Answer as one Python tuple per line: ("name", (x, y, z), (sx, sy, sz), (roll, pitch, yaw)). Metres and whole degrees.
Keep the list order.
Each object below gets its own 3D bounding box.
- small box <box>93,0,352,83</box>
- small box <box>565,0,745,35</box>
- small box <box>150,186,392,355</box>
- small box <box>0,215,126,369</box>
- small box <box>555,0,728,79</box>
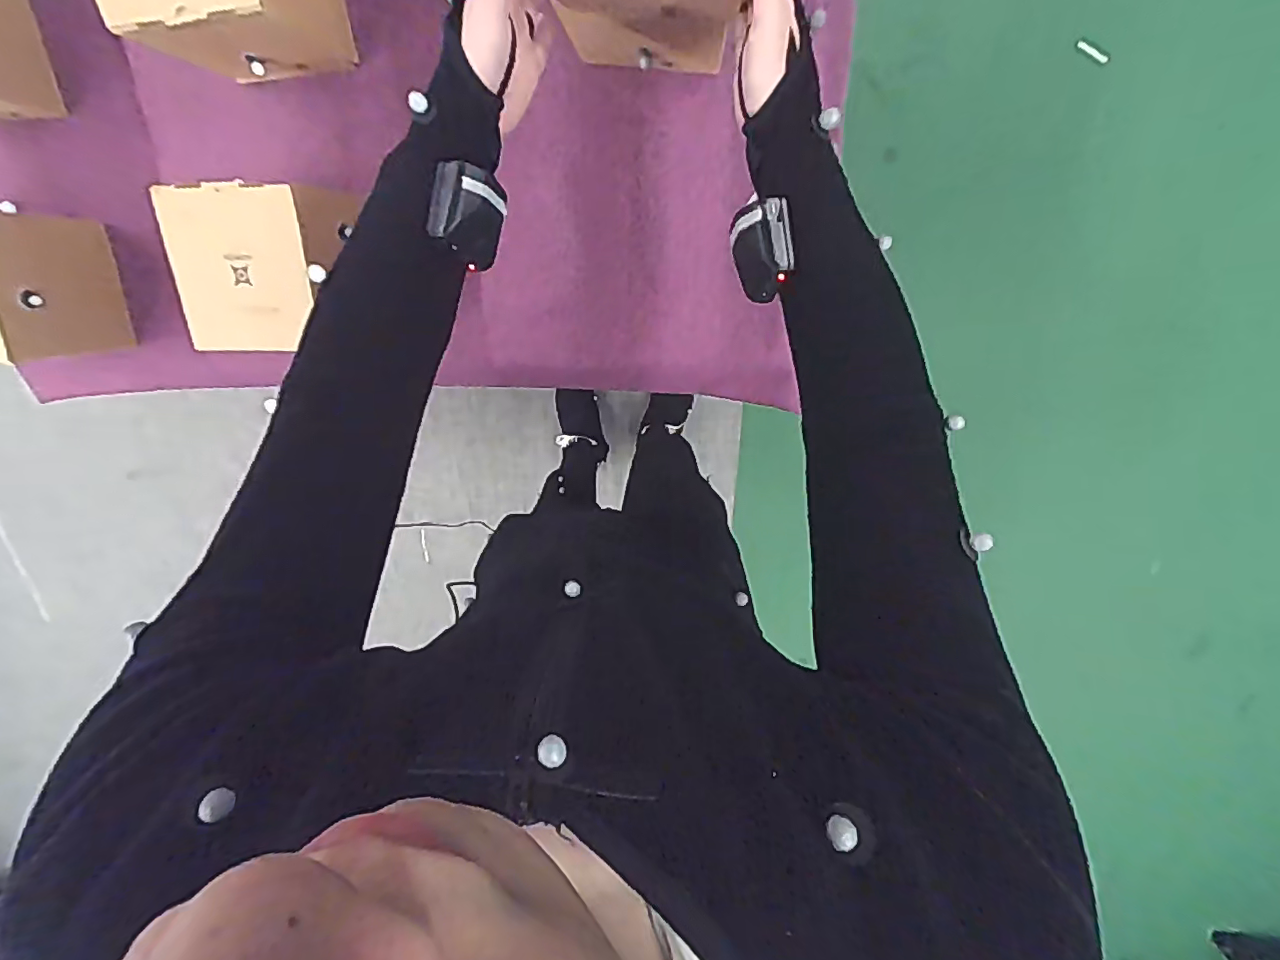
("small box", (-0.437, -0.546, 0.559), (0.168, 0.176, 0.179), (-3, 113, 5))
("small box", (0.011, -0.461, 0.381), (0.168, 0.176, 0.179), (7, 112, 2))
("small box", (-0.438, -0.257, 0.676), (0.168, 0.176, 0.179), (2, 111, 4))
("small box", (-0.837, -0.250, 0.704), (0.168, 0.176, 0.179), (4, 111, 2))
("small box", (0.015, -0.530, 0.530), (0.168, 0.176, 0.179), (7, 113, 2))
